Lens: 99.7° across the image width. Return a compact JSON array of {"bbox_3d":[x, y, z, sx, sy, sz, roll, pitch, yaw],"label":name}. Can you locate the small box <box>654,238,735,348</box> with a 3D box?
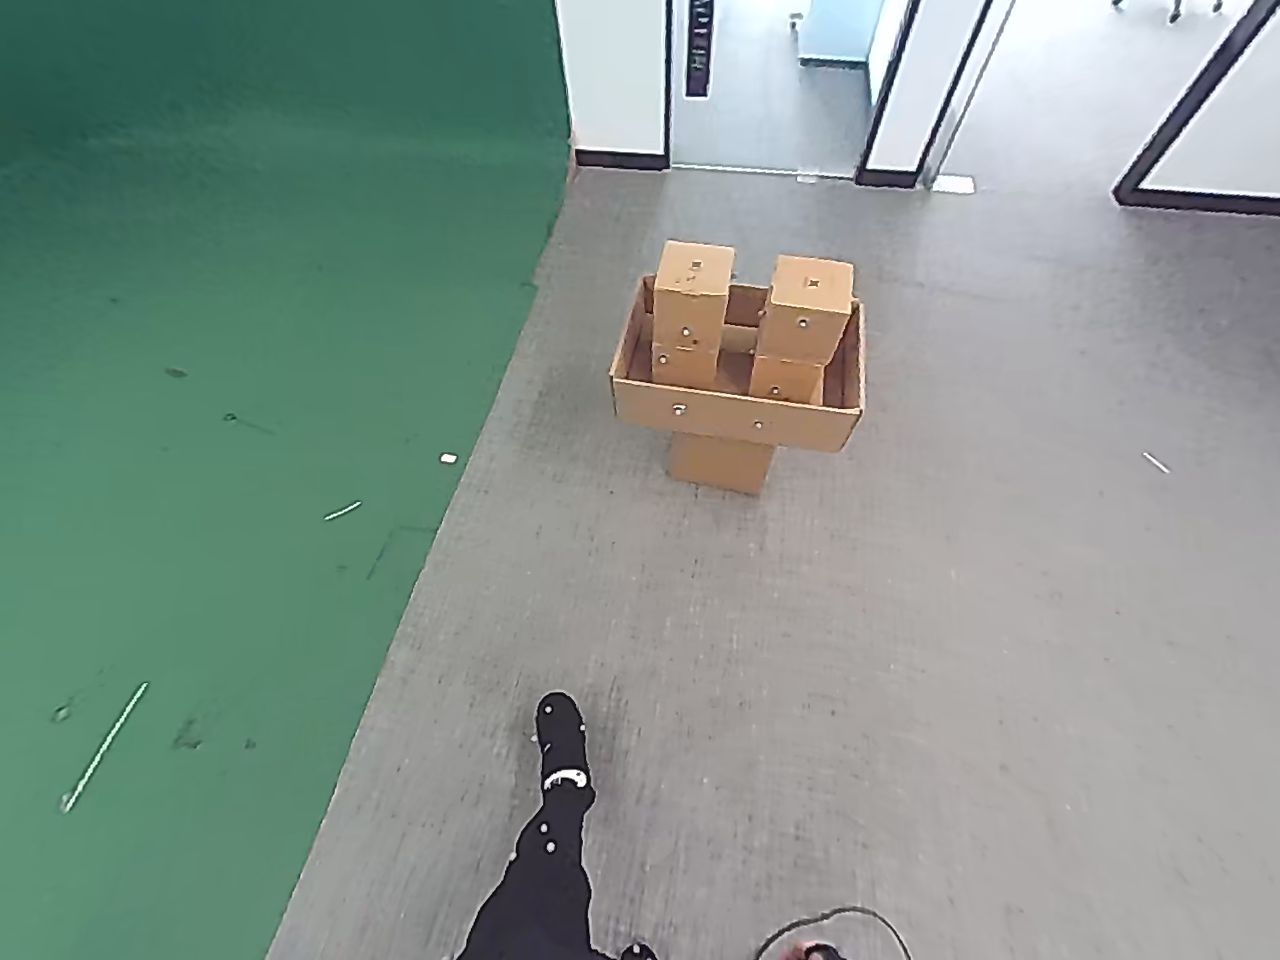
[{"bbox_3d":[0.126,-0.447,1.300,0.168,0.176,0.179,9,60,7],"label":"small box"}]

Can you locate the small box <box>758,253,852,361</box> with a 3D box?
[{"bbox_3d":[0.382,-0.403,1.273,0.179,0.176,0.168,11,62,6],"label":"small box"}]
